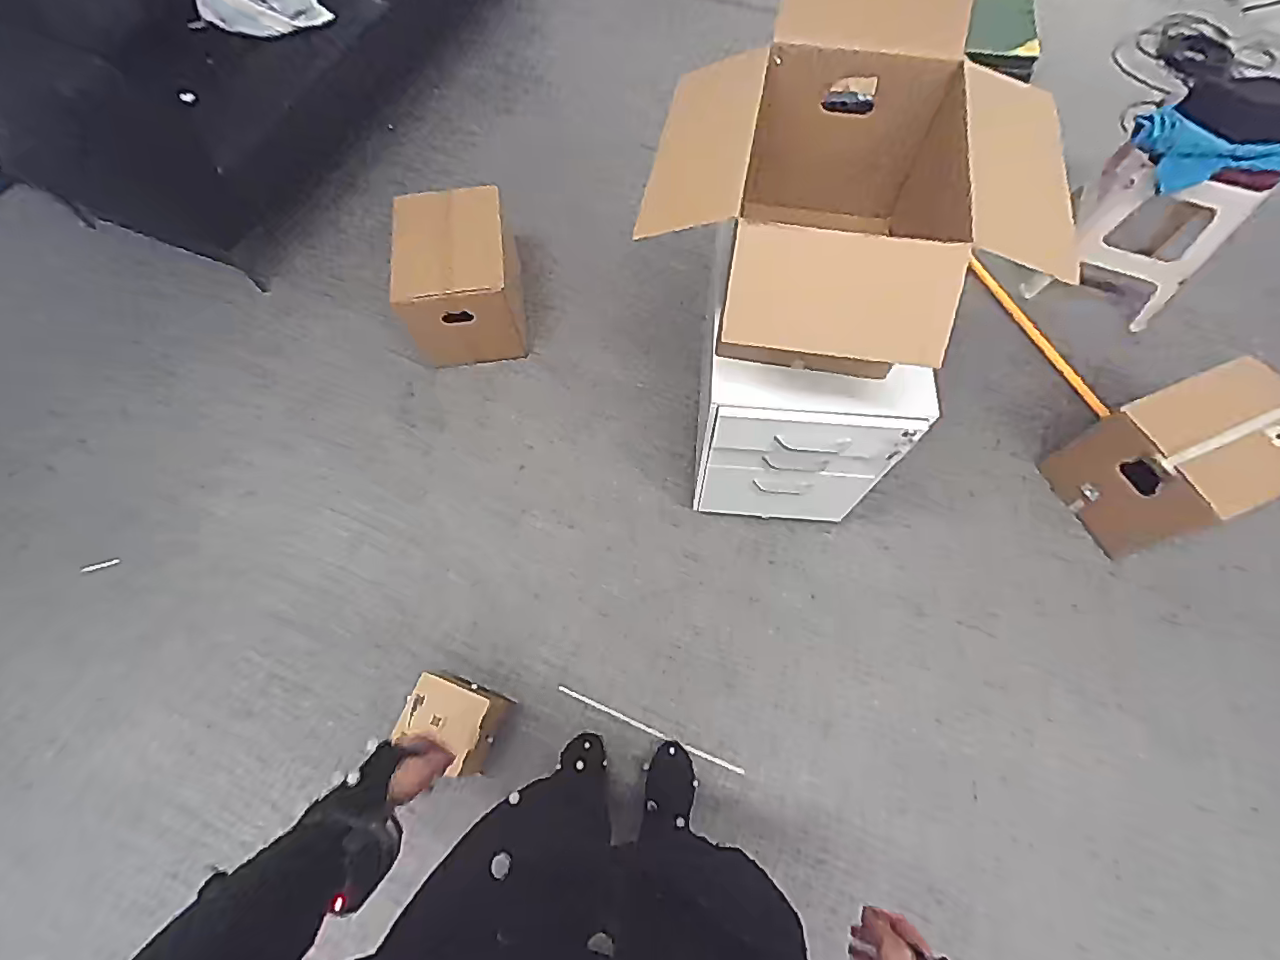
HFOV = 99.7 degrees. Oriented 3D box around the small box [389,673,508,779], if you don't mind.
[{"bbox_3d":[-0.428,0.560,1.247,0.179,0.176,0.168,19,68,10],"label":"small box"}]
